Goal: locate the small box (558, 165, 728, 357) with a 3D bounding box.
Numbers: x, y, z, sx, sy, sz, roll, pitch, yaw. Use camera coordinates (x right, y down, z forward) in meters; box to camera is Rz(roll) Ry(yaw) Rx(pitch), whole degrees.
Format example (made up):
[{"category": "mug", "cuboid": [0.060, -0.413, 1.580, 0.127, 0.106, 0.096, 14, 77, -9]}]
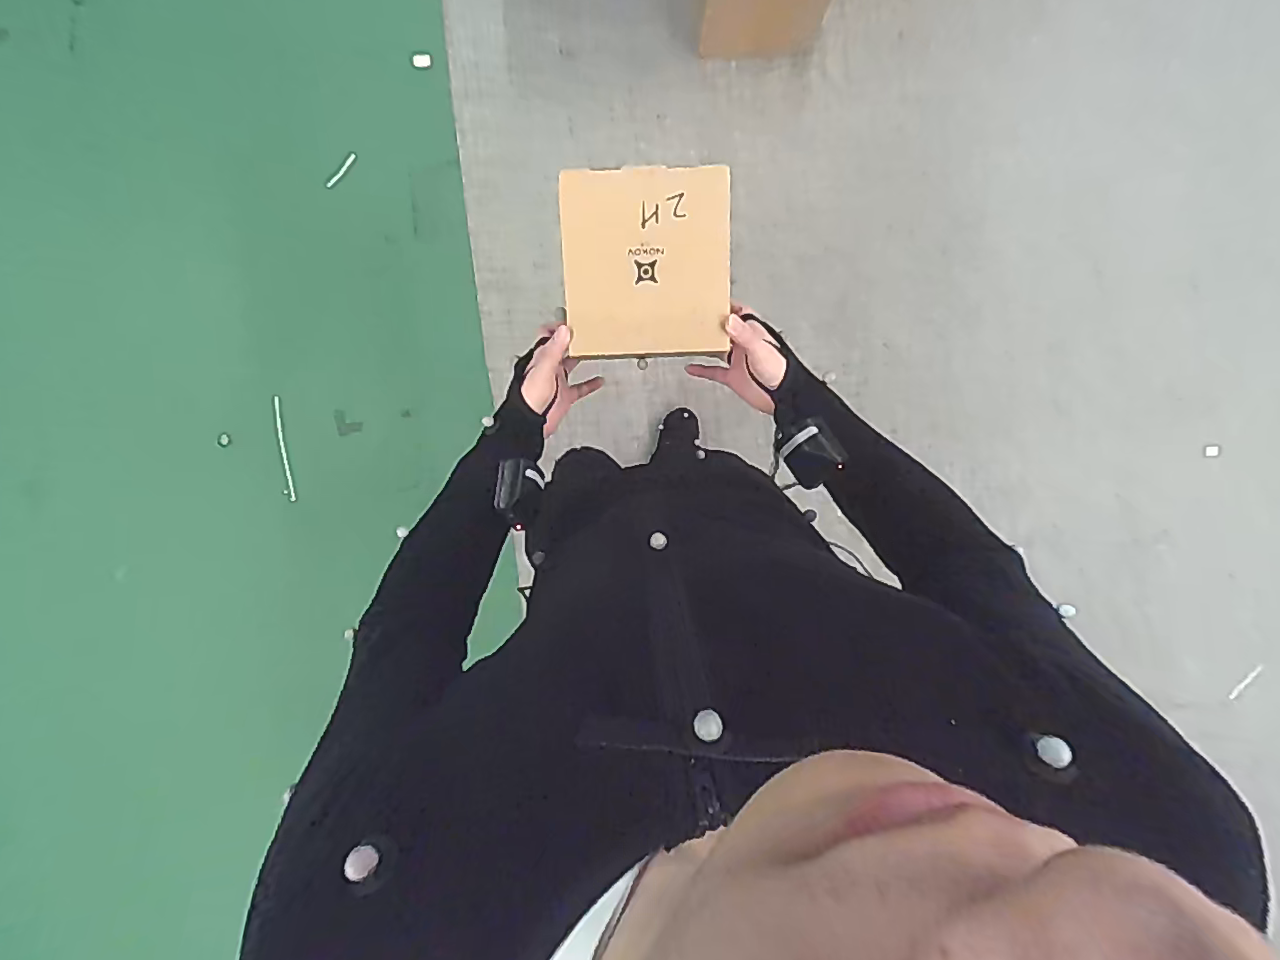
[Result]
[{"category": "small box", "cuboid": [0.003, -0.230, 0.609, 0.168, 0.176, 0.179, -1, 101, -1]}]
